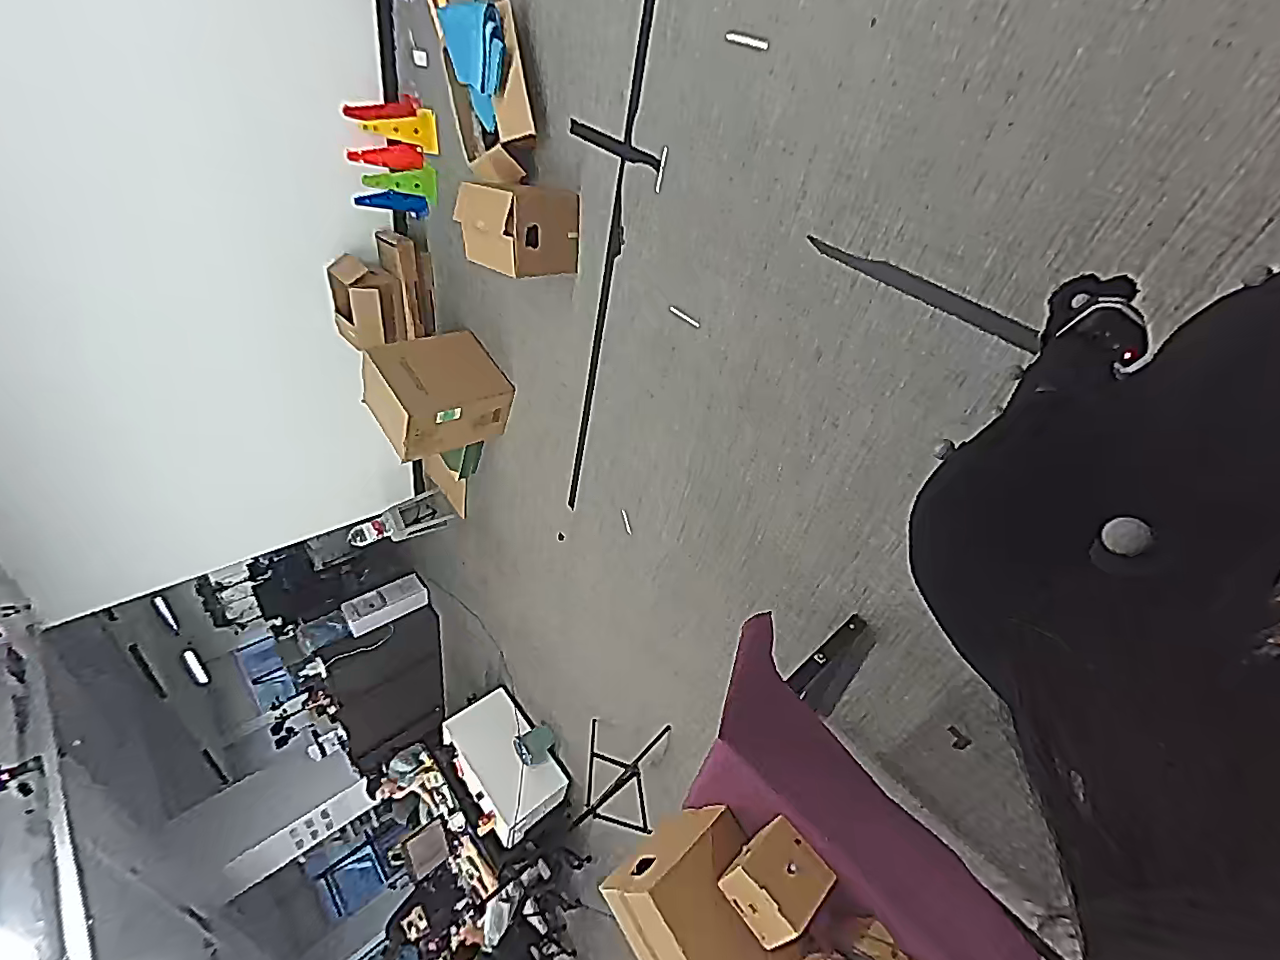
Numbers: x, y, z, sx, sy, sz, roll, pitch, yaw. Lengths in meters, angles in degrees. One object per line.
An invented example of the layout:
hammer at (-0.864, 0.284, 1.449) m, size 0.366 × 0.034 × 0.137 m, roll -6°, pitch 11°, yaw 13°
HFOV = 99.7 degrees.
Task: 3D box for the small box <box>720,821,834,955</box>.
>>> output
small box at (0.321, 0.939, 1.254) m, size 0.168 × 0.176 × 0.179 m, roll 43°, pitch 137°, yaw 29°
